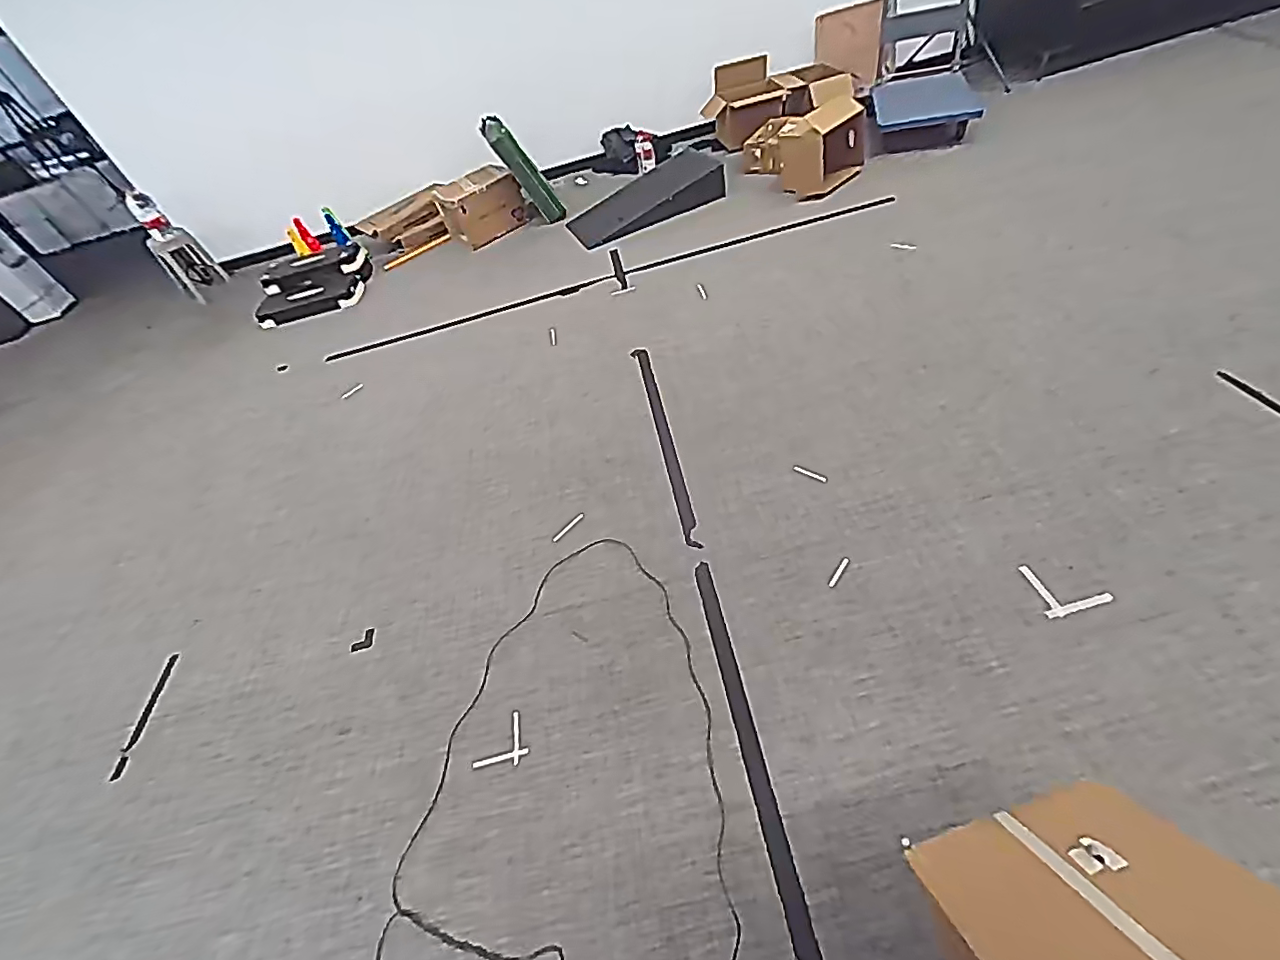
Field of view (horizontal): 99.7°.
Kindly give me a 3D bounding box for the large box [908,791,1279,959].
[{"bbox_3d":[0.598,0.650,0.613,0.320,0.408,0.320,-20,85,0],"label":"large box"}]
